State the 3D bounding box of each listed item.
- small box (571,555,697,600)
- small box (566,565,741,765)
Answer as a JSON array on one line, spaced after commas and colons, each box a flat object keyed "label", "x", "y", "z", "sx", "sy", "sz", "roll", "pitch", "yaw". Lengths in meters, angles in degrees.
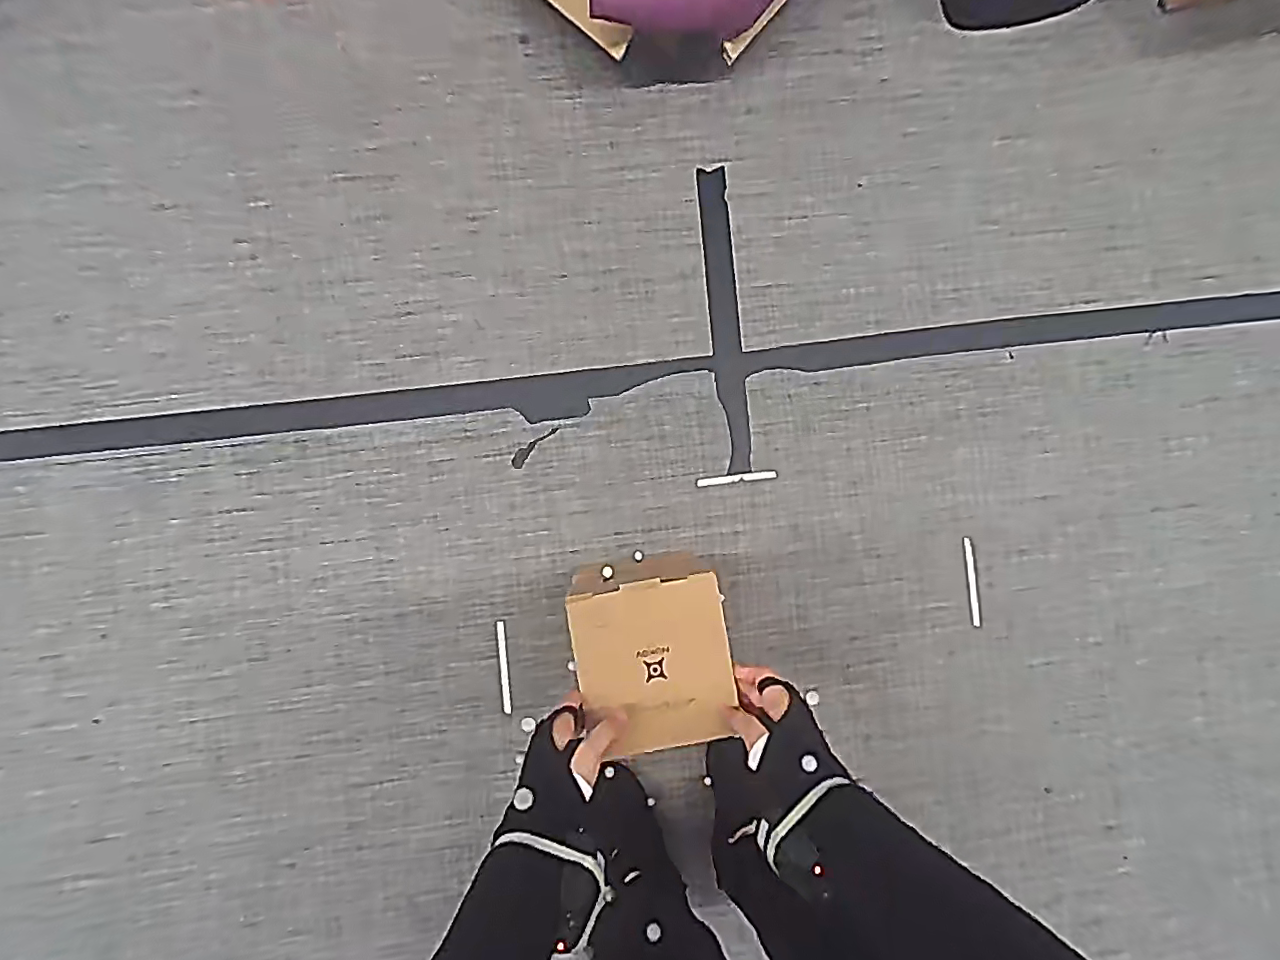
[{"label": "small box", "x": 0.000, "y": 0.211, "z": 0.815, "sx": 0.179, "sy": 0.176, "sz": 0.168, "roll": -8, "pitch": 88, "yaw": -3}, {"label": "small box", "x": 0.011, "y": 0.205, "z": 0.654, "sx": 0.168, "sy": 0.176, "sz": 0.179, "roll": -11, "pitch": 89, "yaw": -1}]
